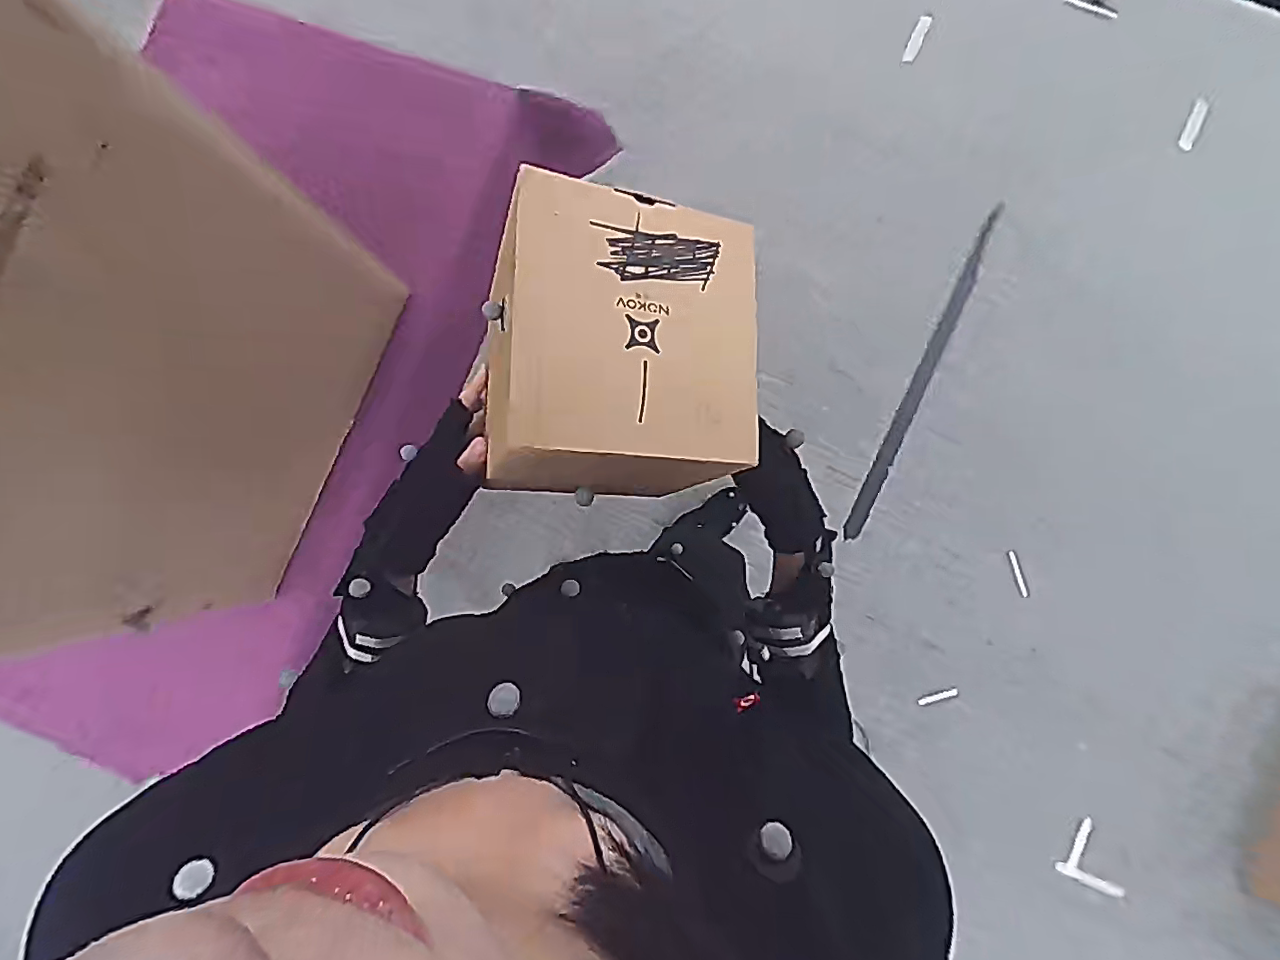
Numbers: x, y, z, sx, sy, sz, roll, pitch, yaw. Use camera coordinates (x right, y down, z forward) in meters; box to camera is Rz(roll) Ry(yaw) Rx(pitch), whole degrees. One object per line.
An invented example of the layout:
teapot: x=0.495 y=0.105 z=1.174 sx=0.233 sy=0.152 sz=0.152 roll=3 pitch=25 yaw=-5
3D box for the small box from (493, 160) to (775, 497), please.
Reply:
small box: x=-0.017 y=-0.089 z=0.410 sx=0.168 sy=0.176 sz=0.179 roll=4 pitch=79 yaw=-20
